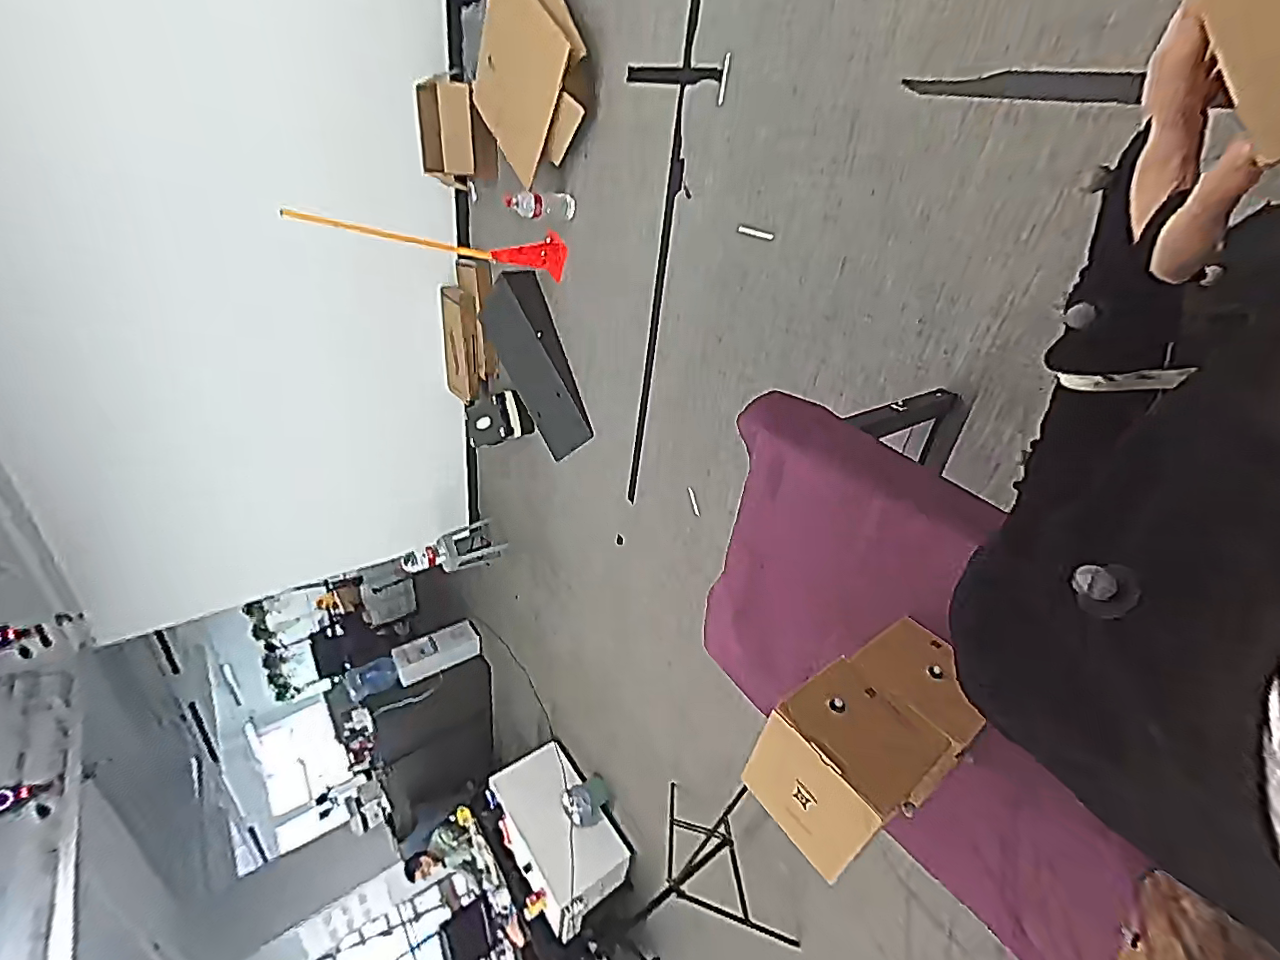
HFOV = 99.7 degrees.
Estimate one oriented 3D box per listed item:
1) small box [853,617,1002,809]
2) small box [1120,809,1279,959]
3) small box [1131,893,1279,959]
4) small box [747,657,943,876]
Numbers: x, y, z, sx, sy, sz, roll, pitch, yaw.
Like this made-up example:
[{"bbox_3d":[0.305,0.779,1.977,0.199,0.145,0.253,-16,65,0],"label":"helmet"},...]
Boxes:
[{"bbox_3d":[0.414,0.342,0.827,0.168,0.176,0.179,38,133,40],"label":"small box"},{"bbox_3d":[0.658,0.493,0.561,0.168,0.176,0.179,37,132,40],"label":"small box"},{"bbox_3d":[0.530,0.513,0.459,0.168,0.176,0.179,32,129,43],"label":"small box"},{"bbox_3d":[0.279,0.380,0.743,0.168,0.176,0.179,40,134,39],"label":"small box"}]
